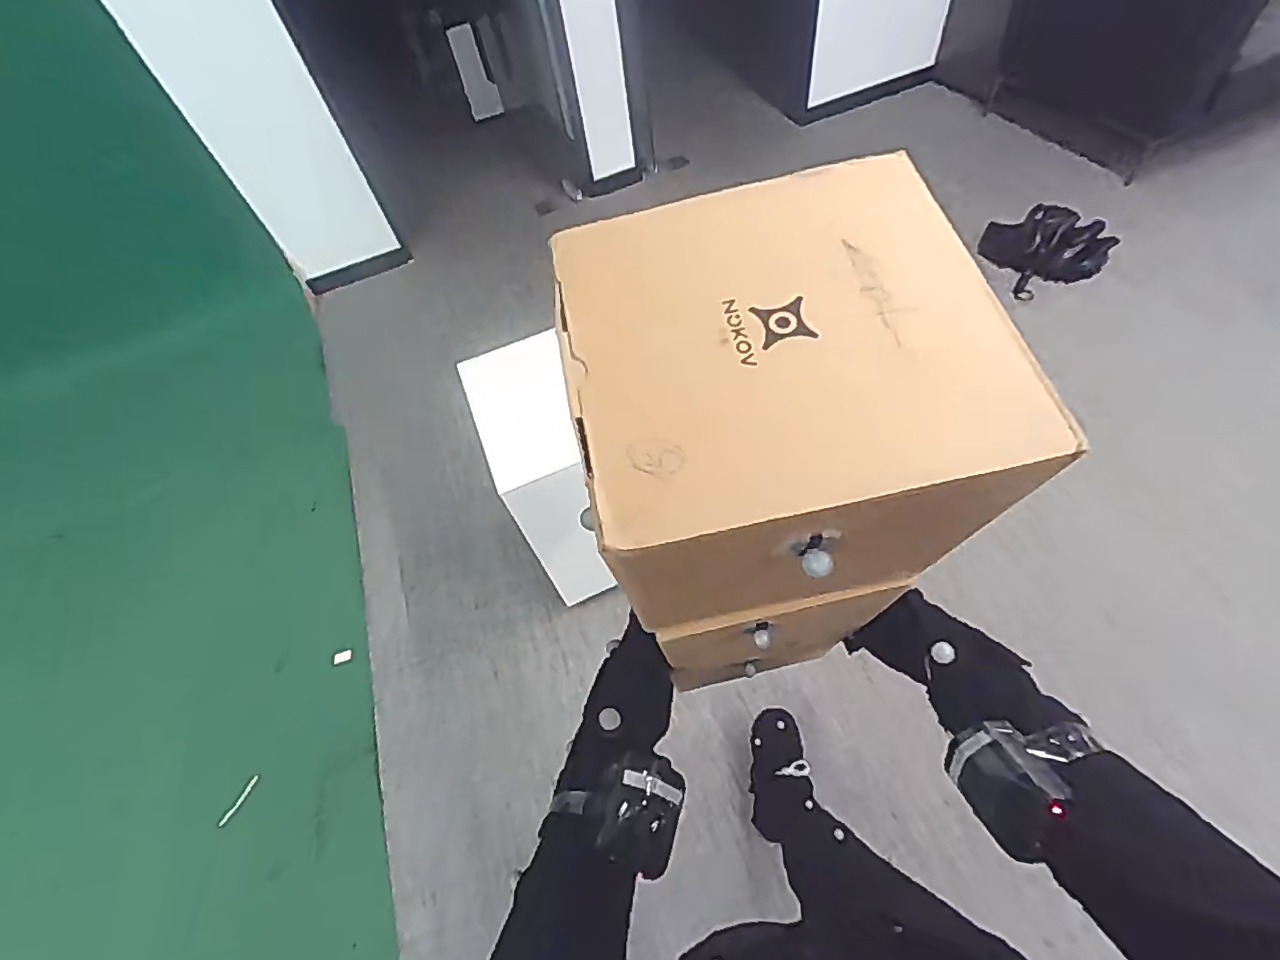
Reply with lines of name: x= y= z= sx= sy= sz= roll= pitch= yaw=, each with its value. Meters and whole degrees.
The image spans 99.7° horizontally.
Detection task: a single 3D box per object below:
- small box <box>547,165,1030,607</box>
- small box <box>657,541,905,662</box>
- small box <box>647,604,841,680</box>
small box: x=0.060 y=-0.036 z=0.312 sx=0.179 sy=0.176 sz=0.168 roll=-13 pitch=65 yaw=1
small box: x=0.083 y=0.037 z=0.459 sx=0.168 sy=0.176 sz=0.179 roll=-15 pitch=63 yaw=-1
small box: x=0.097 y=0.114 z=0.600 sx=0.179 sy=0.176 sz=0.168 roll=-14 pitch=63 yaw=0
